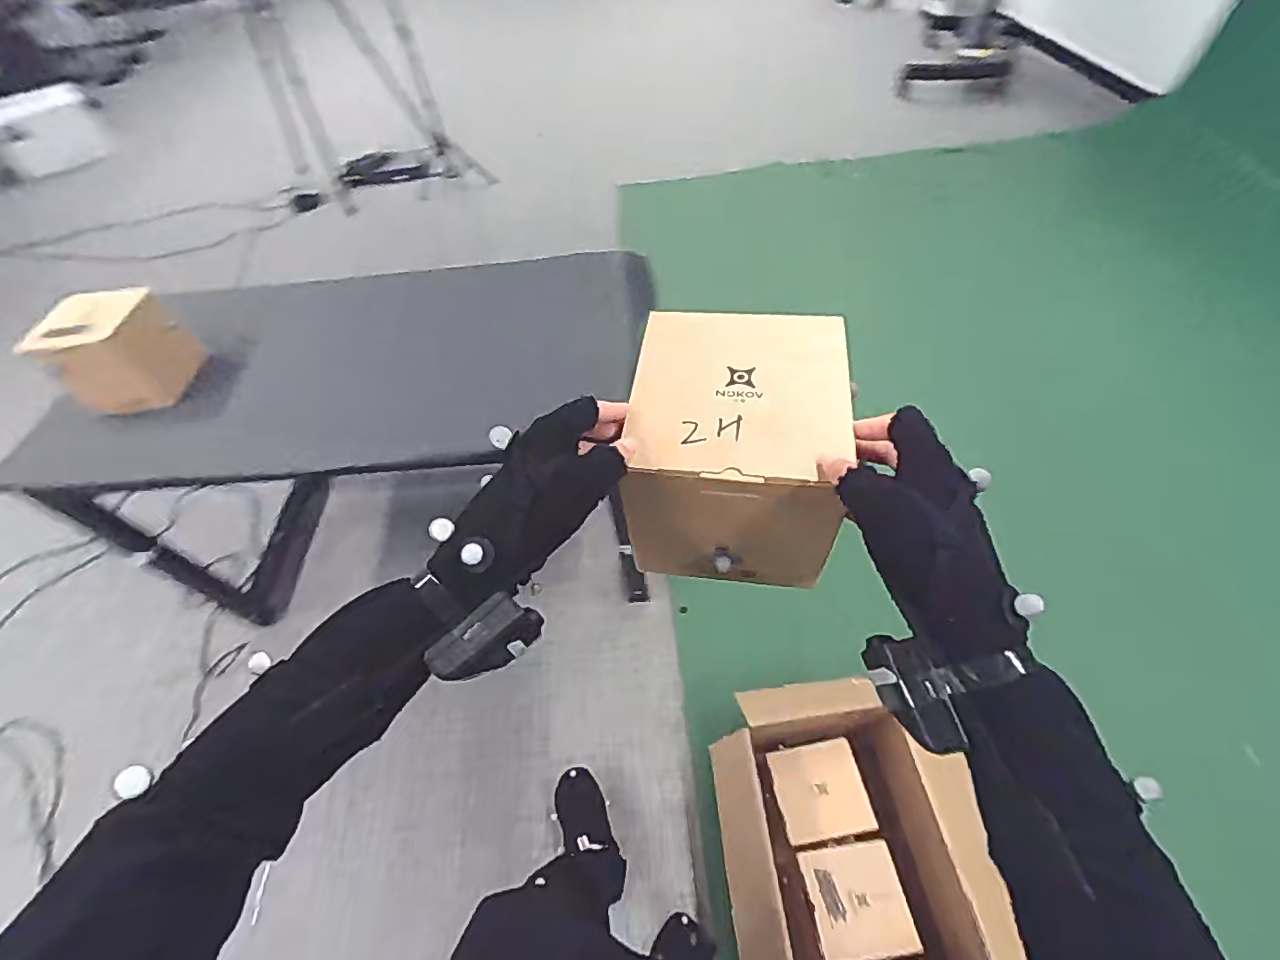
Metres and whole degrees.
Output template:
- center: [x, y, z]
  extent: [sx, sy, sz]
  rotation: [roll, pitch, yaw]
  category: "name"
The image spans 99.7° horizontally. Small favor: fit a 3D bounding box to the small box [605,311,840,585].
- center: [0.072, -0.027, 0.484]
  extent: [0.168, 0.176, 0.179]
  rotation: [4, 55, 9]
  category: "small box"
